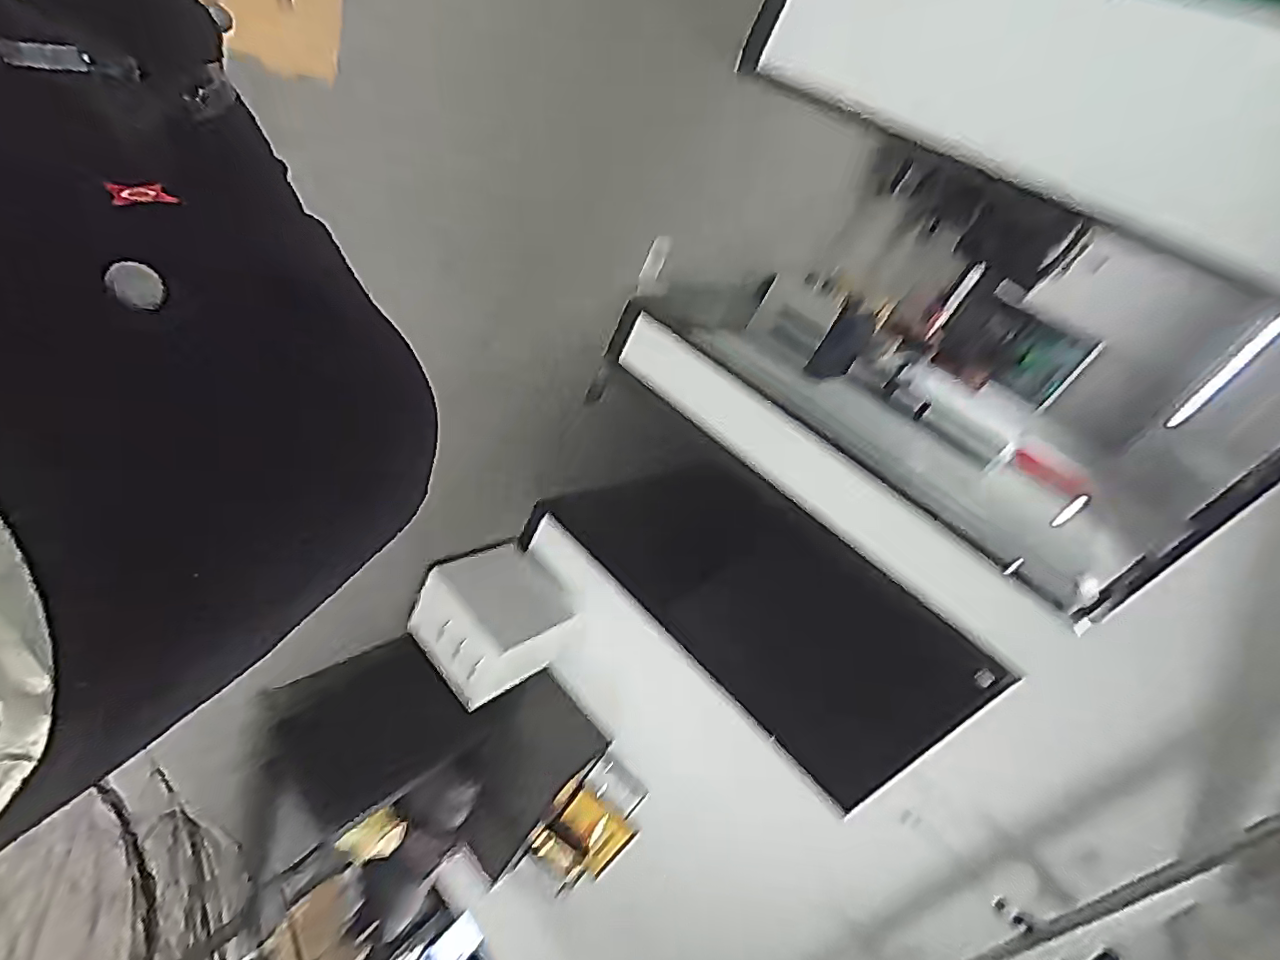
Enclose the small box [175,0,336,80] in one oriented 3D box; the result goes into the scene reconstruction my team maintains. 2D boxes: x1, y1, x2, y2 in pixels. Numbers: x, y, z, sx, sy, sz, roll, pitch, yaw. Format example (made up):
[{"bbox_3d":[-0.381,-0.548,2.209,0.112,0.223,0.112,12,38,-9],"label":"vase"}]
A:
[{"bbox_3d":[-0.586,-0.760,0.817,0.168,0.176,0.179,-21,146,-50],"label":"small box"}]
